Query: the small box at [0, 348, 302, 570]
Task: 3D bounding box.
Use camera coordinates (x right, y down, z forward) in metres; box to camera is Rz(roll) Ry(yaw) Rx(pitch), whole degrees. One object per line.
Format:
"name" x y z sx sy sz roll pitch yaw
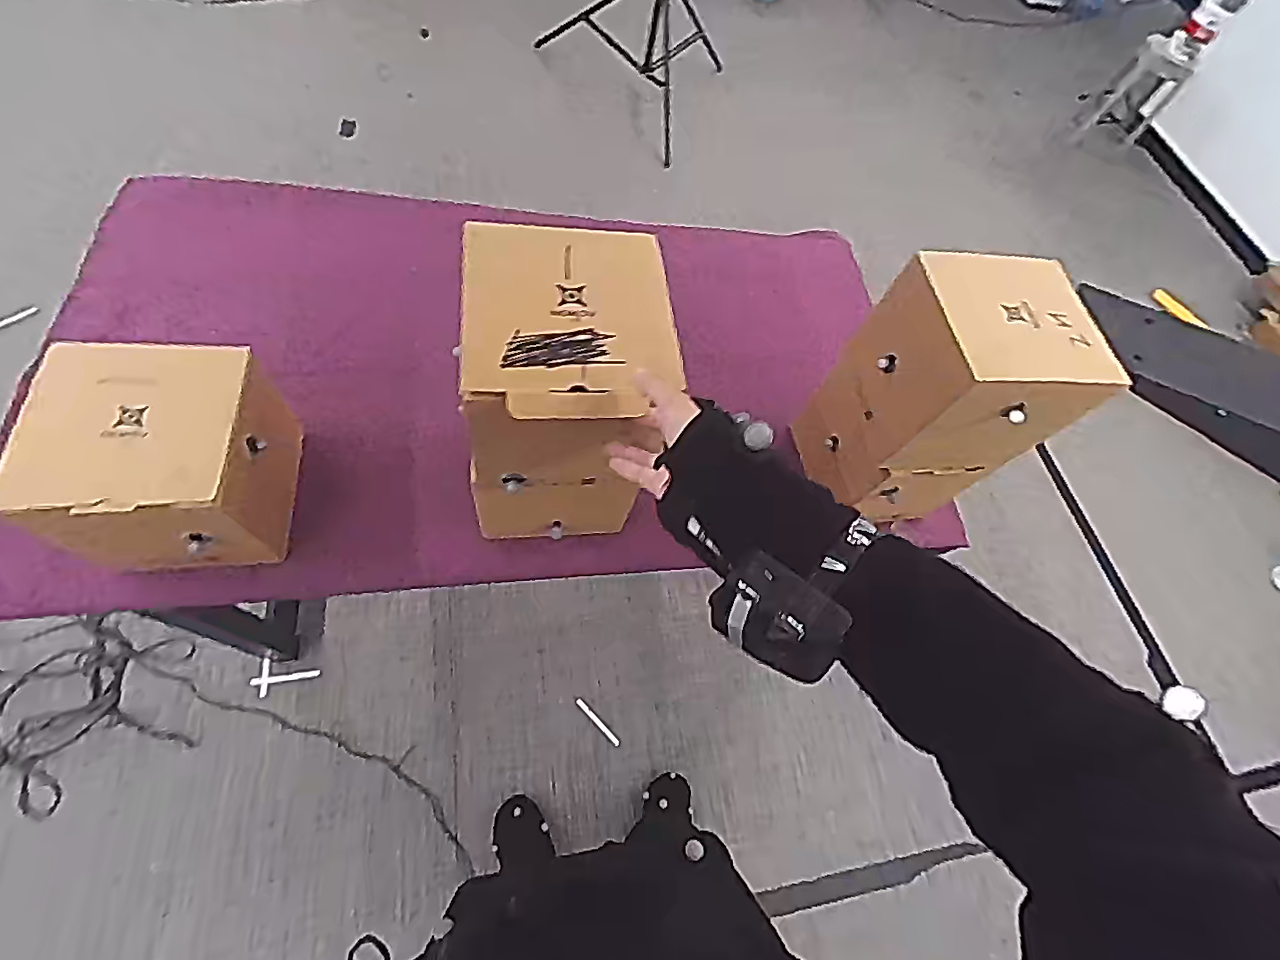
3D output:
"small box" -0.471 -0.013 0.555 0.168 0.176 0.179 -2 63 -15

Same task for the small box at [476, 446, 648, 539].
"small box" -0.100 -0.035 0.644 0.179 0.176 0.168 -2 65 -13

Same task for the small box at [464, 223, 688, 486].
"small box" -0.065 -0.101 0.496 0.168 0.176 0.179 -2 65 -13

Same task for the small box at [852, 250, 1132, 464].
"small box" 0.359 -0.125 0.598 0.179 0.176 0.168 -1 64 -12
